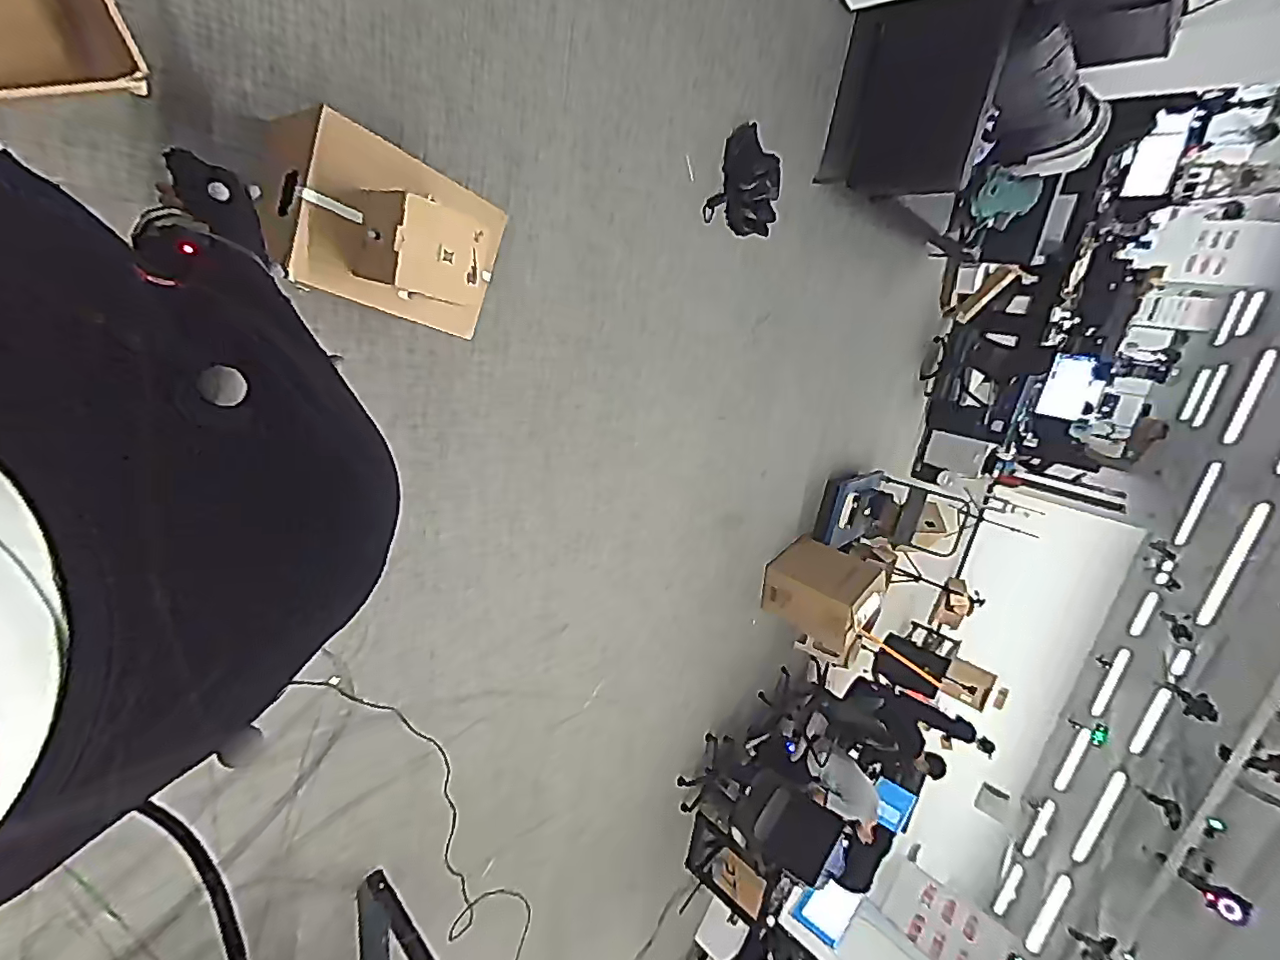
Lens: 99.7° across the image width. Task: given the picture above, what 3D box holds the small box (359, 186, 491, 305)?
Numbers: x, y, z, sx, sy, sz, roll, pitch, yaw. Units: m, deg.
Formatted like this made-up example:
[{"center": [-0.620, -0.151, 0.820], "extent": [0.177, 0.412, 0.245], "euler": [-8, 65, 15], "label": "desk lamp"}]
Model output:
[{"center": [-0.426, -0.455, 1.062], "extent": [0.179, 0.176, 0.168], "euler": [0, 109, -50], "label": "small box"}]
